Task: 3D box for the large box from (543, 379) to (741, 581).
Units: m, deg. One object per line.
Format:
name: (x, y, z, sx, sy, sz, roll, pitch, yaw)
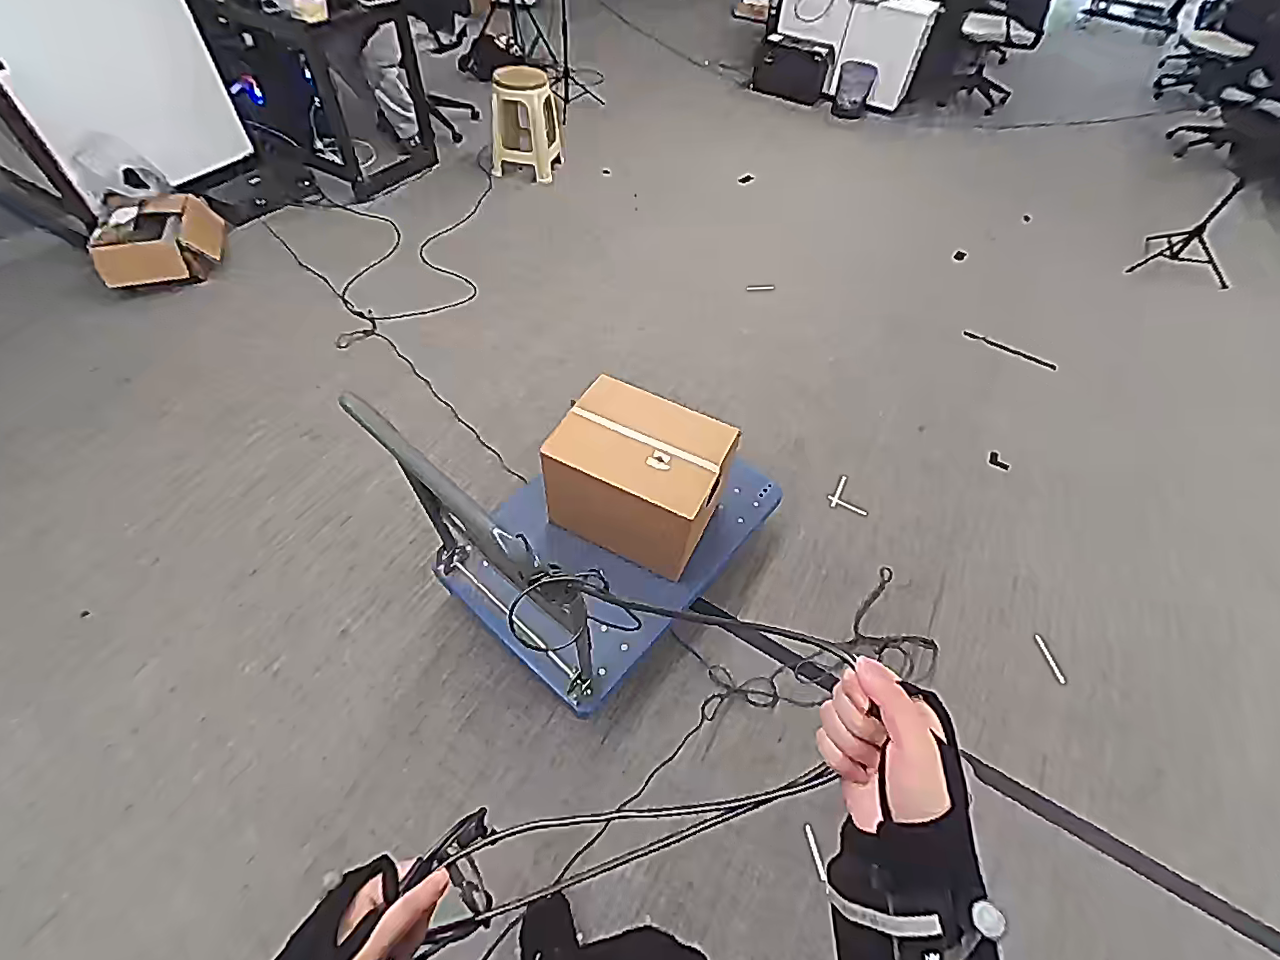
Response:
large box: (-0.002, 0.000, 1.430, 0.408, 0.320, 0.320, 24, 56, 12)
